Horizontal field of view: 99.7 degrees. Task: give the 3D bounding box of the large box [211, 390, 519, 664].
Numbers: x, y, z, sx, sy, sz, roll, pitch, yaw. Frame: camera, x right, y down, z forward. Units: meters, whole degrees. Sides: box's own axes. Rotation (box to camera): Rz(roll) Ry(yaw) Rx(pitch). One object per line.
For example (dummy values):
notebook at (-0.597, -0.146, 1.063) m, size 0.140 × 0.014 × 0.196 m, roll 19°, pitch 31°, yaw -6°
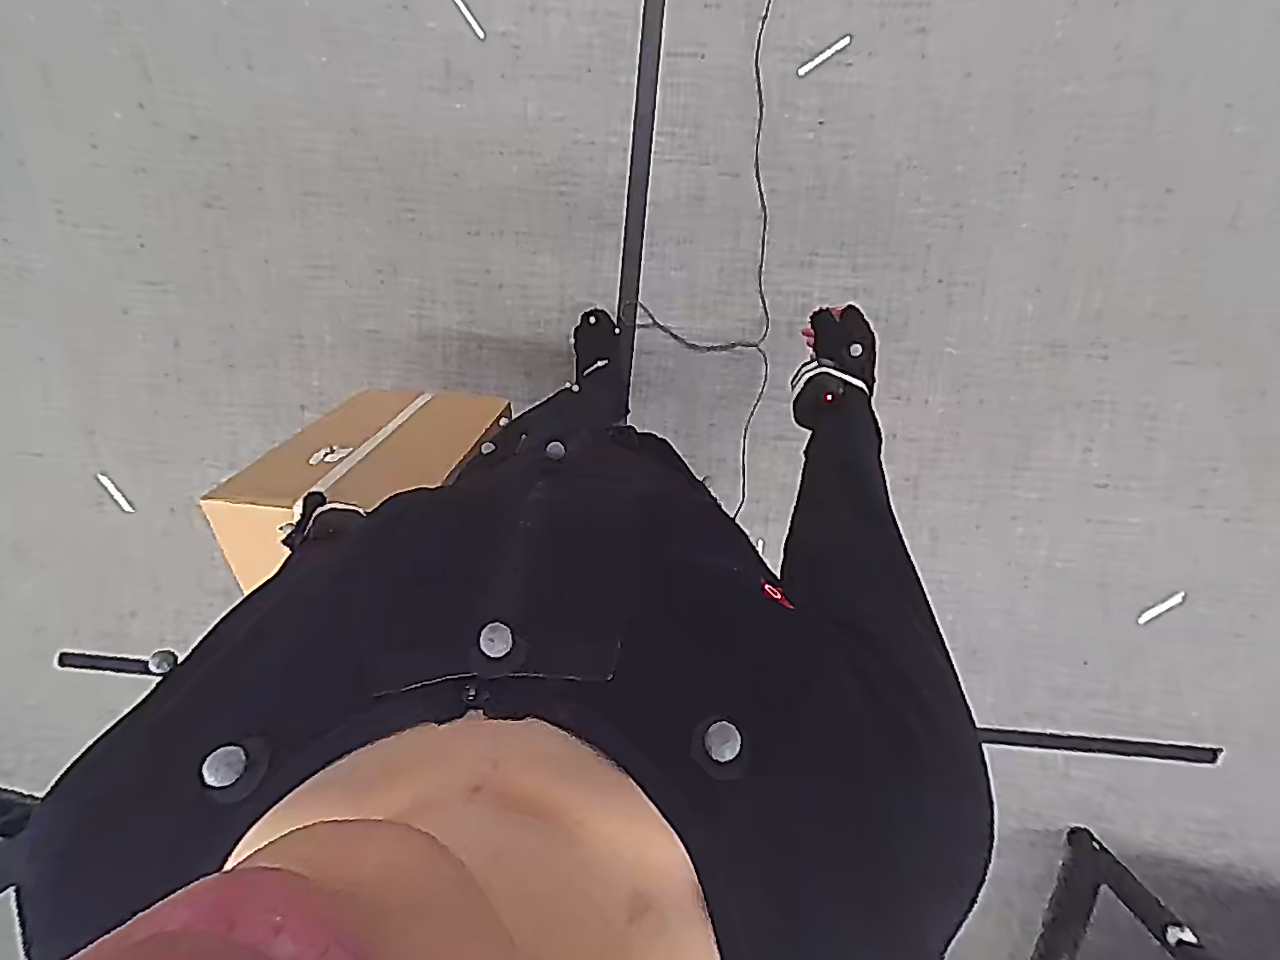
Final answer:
large box at (-0.439, 0.062, 0.994) m, size 0.320 × 0.408 × 0.320 m, roll 5°, pitch 122°, yaw 7°
